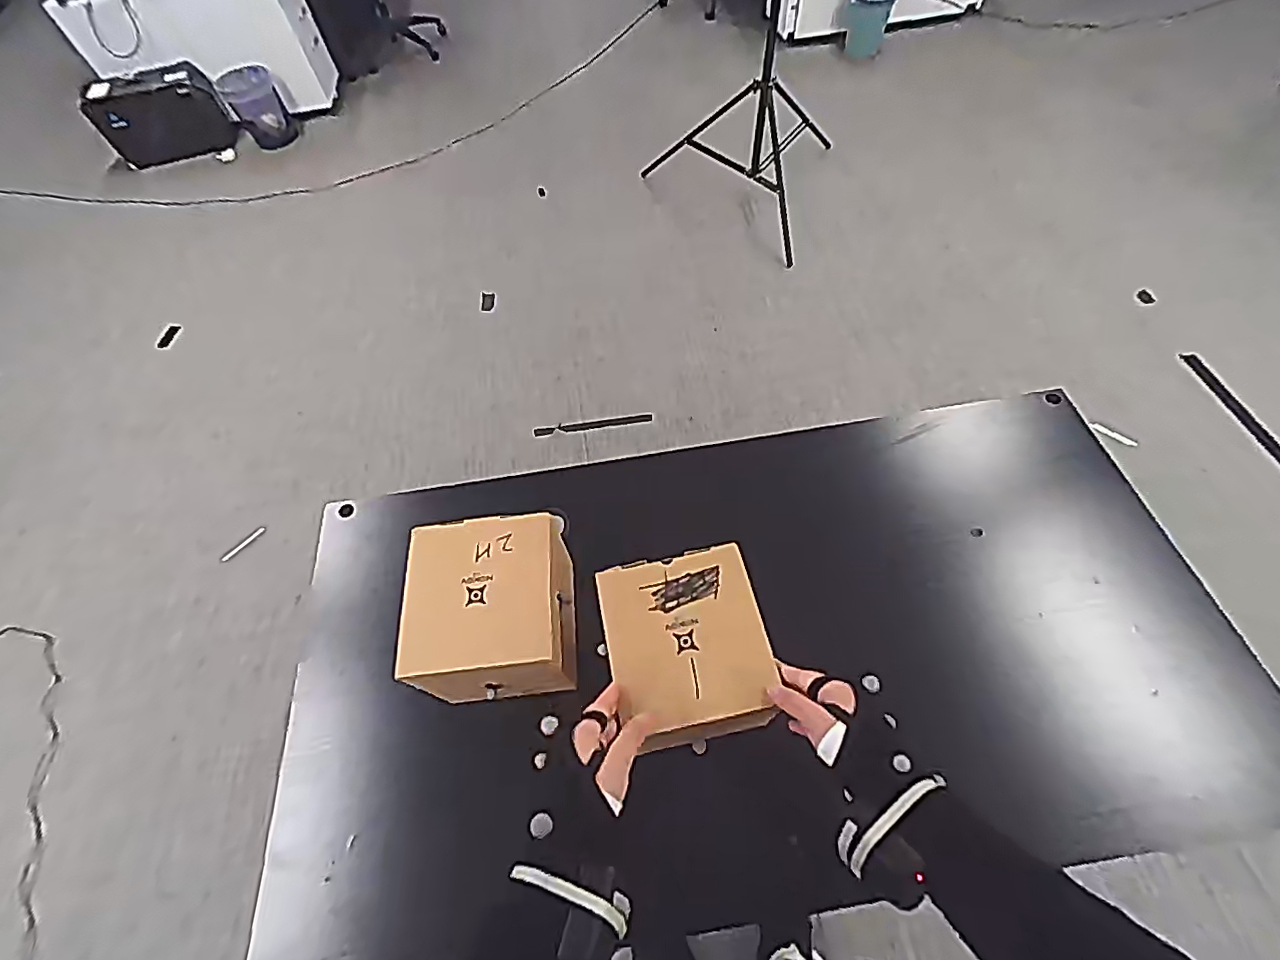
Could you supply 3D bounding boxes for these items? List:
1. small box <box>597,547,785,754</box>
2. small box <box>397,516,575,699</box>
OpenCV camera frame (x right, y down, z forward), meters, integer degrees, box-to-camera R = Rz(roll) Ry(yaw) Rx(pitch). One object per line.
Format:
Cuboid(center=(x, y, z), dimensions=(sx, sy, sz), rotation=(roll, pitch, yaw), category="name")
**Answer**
Cuboid(center=(0.051, 0.203, 0.632), dimensions=(0.168, 0.176, 0.179), rotation=(-12, 59, -2), category="small box")
Cuboid(center=(-0.177, 0.167, 0.673), dimensions=(0.168, 0.176, 0.179), rotation=(-7, 58, 0), category="small box")
